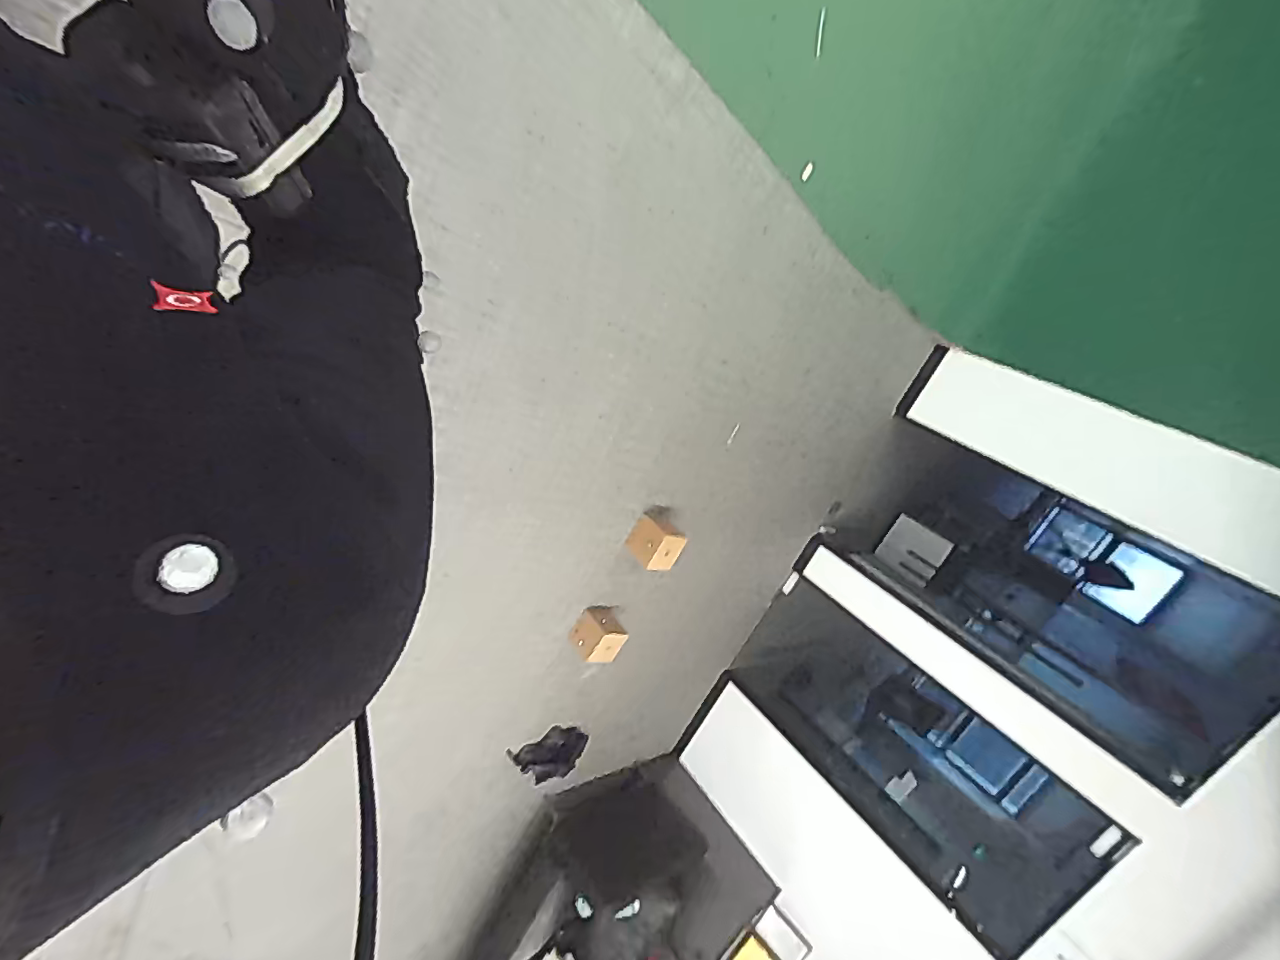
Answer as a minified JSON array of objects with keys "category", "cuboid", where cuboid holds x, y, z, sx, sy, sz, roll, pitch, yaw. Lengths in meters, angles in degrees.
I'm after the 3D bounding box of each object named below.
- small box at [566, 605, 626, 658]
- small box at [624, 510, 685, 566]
[{"category":"small box","cuboid":[-0.205,0.691,2.475,0.179,0.176,0.168,20,108,-51]},{"category":"small box","cuboid":[0.056,0.254,2.354,0.168,0.176,0.179,14,111,-49]}]
